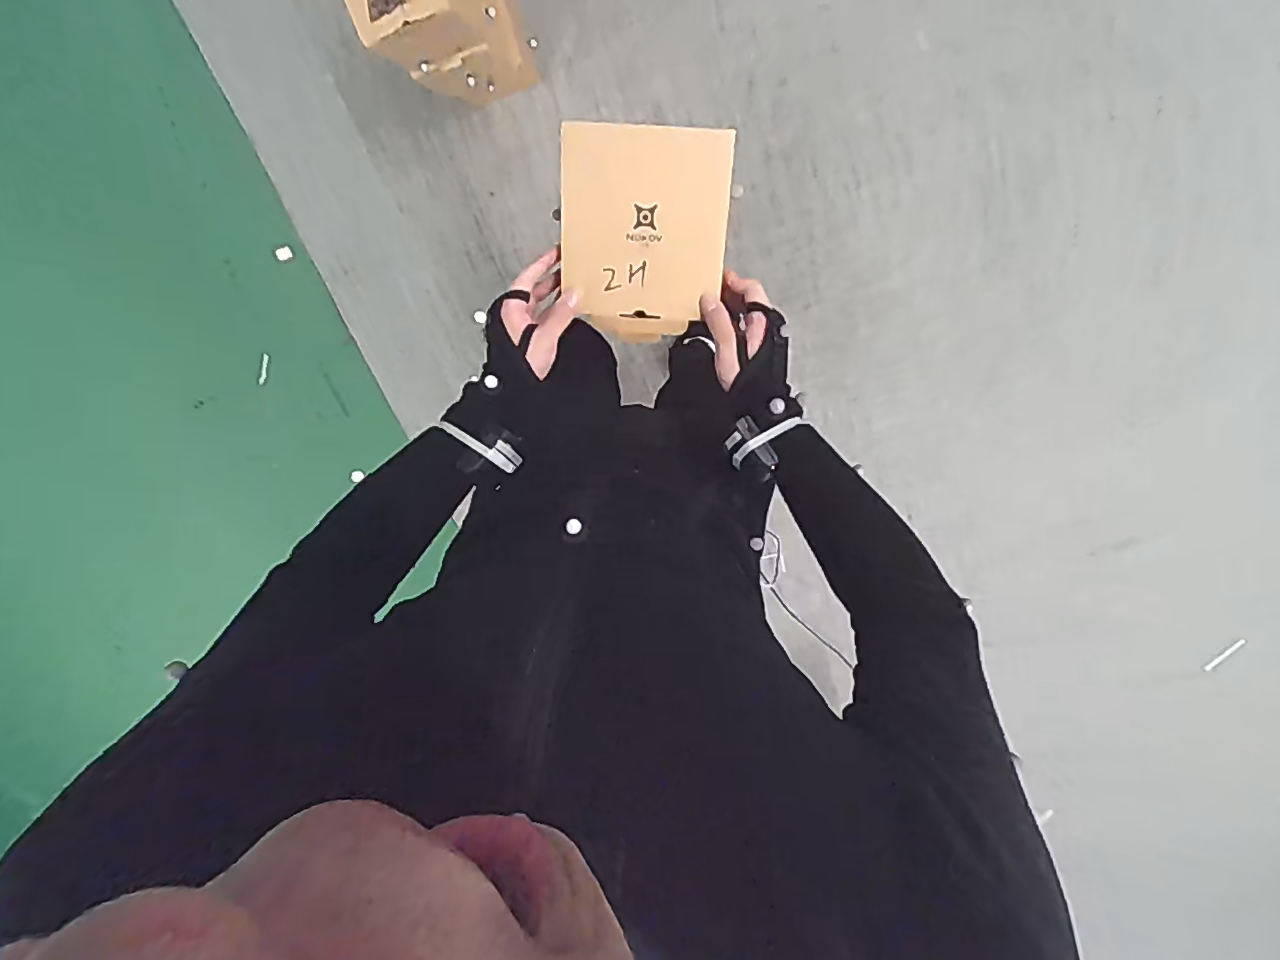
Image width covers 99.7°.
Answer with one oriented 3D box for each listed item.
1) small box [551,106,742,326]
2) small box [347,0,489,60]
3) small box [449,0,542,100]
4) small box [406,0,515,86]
[{"bbox_3d":[0.005,-0.280,0.602,0.168,0.176,0.179,9,112,0],"label":"small box"},{"bbox_3d":[-0.371,-0.818,0.877,0.168,0.176,0.179,-11,113,13],"label":"small box"},{"bbox_3d":[-0.335,-0.954,1.173,0.179,0.176,0.168,-10,114,12],"label":"small box"},{"bbox_3d":[-0.358,-0.880,1.029,0.168,0.176,0.179,-10,115,12],"label":"small box"}]
